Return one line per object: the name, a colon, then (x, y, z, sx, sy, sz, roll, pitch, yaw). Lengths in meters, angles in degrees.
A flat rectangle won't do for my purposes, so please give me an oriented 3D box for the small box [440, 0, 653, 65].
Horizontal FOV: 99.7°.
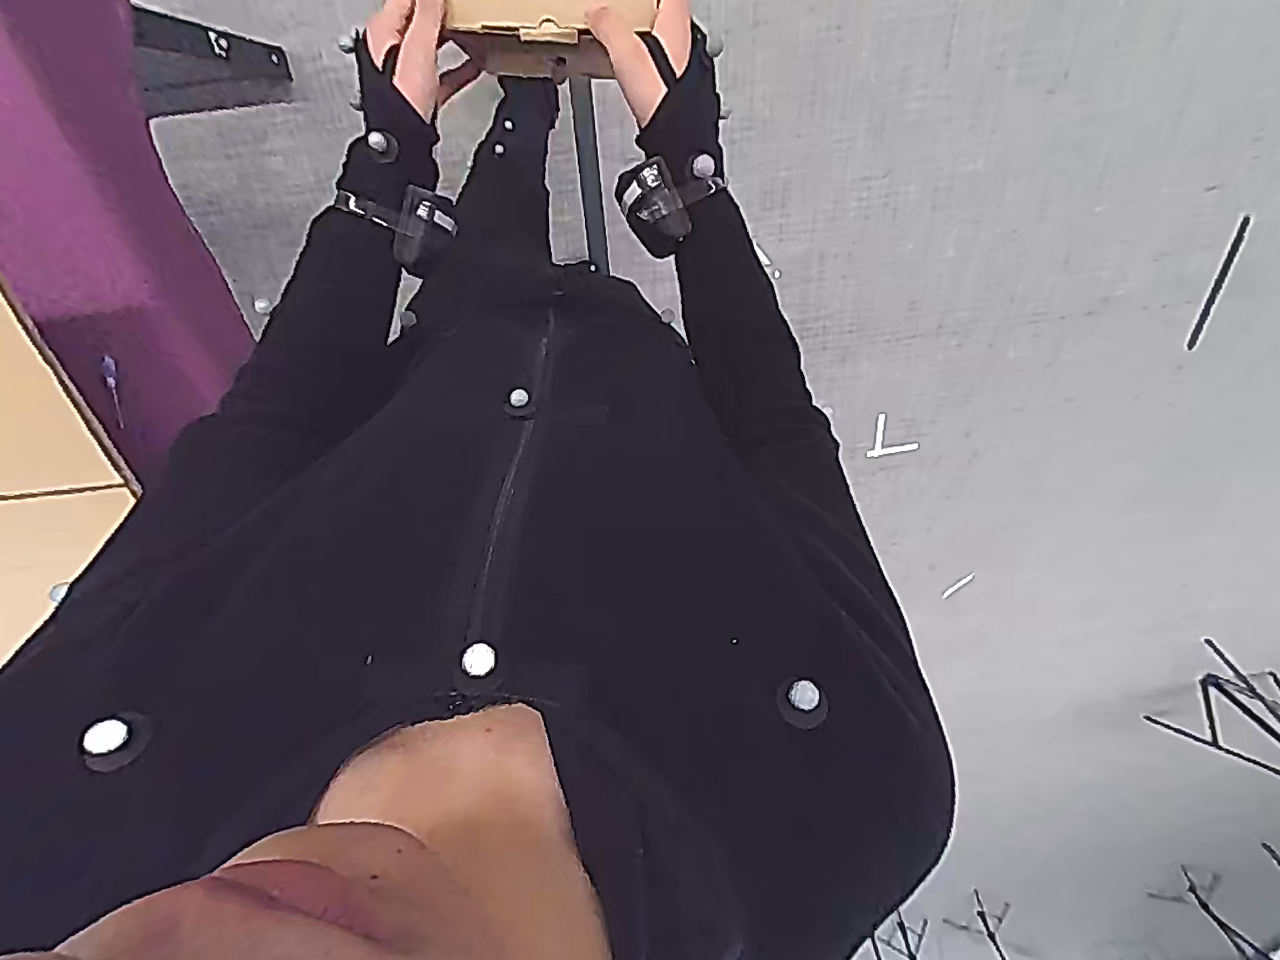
small box: (-0.068, -0.464, 0.444, 0.168, 0.176, 0.179, 1, 118, -3)
